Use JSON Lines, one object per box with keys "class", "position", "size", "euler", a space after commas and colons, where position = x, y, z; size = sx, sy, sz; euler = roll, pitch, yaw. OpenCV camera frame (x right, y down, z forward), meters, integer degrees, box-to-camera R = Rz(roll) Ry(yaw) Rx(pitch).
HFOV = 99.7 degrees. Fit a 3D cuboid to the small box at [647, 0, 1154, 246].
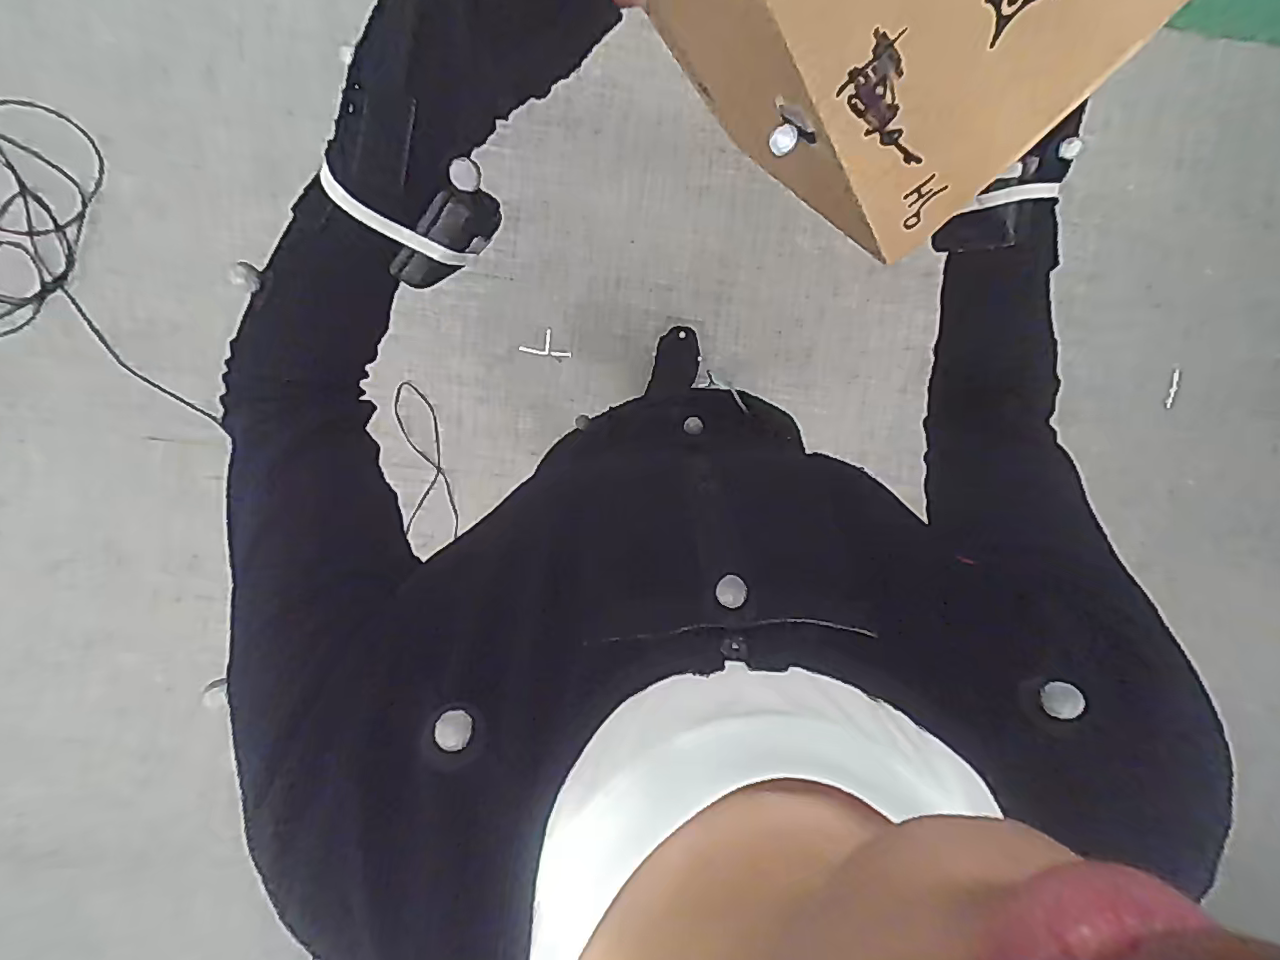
{"class": "small box", "position": [0.112, -0.260, 0.250], "size": [0.179, 0.168, 0.176], "euler": [-43, 56, 20]}
